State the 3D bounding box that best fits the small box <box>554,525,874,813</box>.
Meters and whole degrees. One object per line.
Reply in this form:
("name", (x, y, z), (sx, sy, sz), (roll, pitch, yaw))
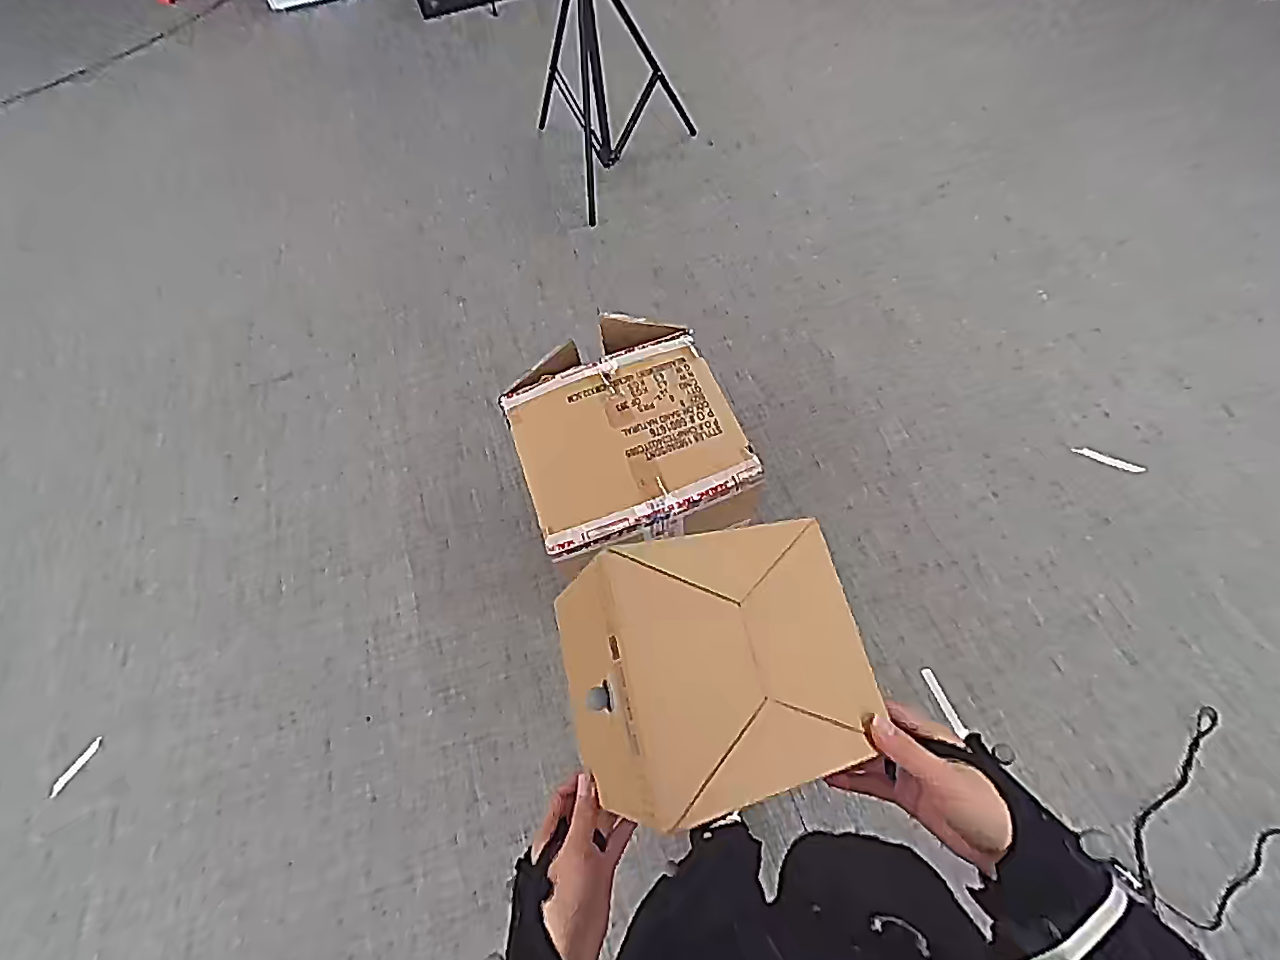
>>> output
("small box", (0.045, 0.143, 0.429), (0.179, 0.176, 0.168), (-5, 68, -23))
